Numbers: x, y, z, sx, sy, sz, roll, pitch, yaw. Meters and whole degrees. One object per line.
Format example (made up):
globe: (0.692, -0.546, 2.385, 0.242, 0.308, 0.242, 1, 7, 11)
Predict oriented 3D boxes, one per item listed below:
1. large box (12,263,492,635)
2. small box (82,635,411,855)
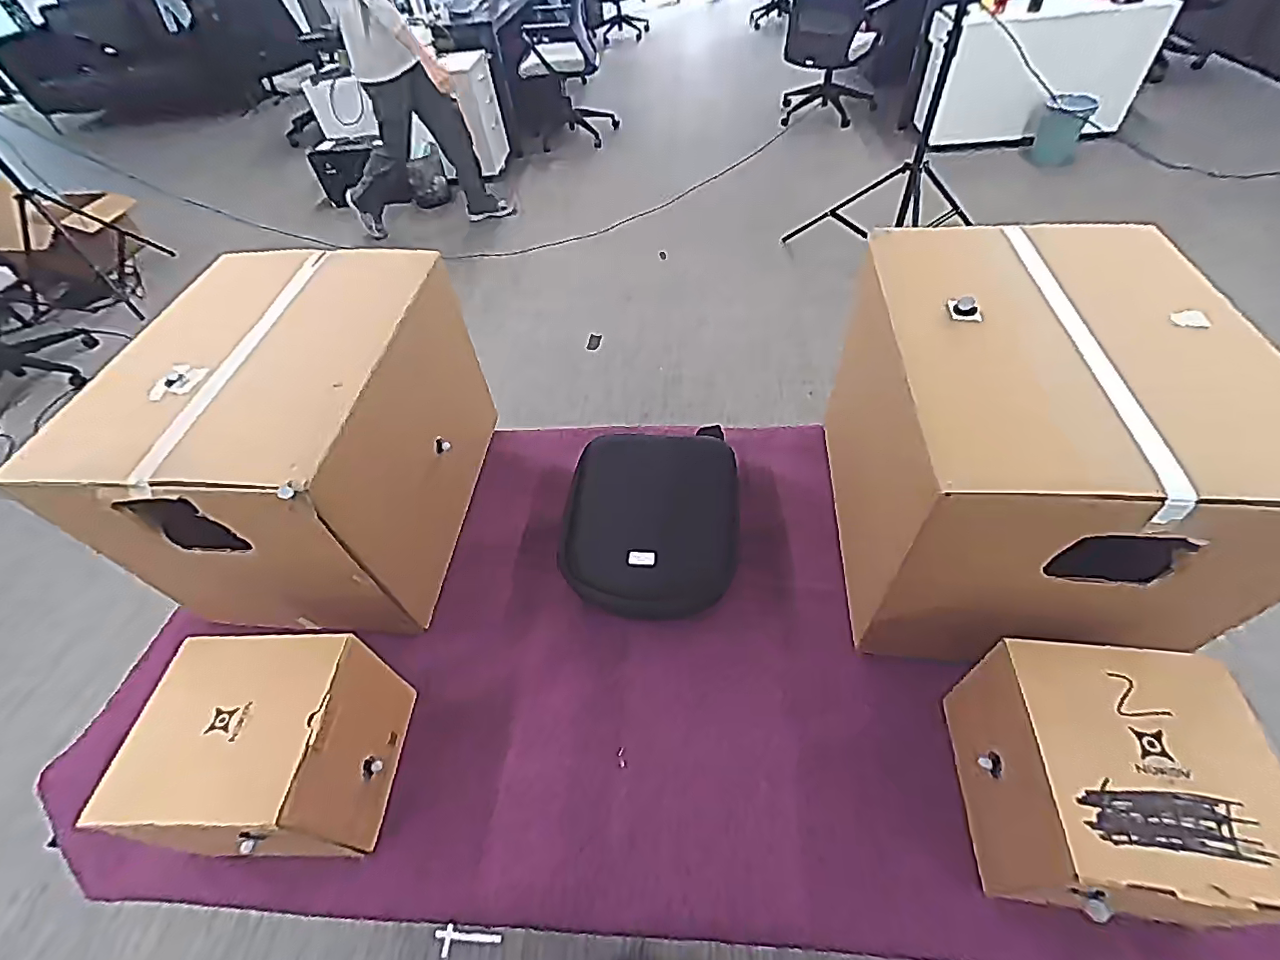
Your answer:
large box: (-0.422, -0.044, 0.731, 0.320, 0.320, 0.408, 0, 52, 5)
small box: (-0.368, 0.273, 0.551, 0.179, 0.176, 0.168, -2, 49, 3)
